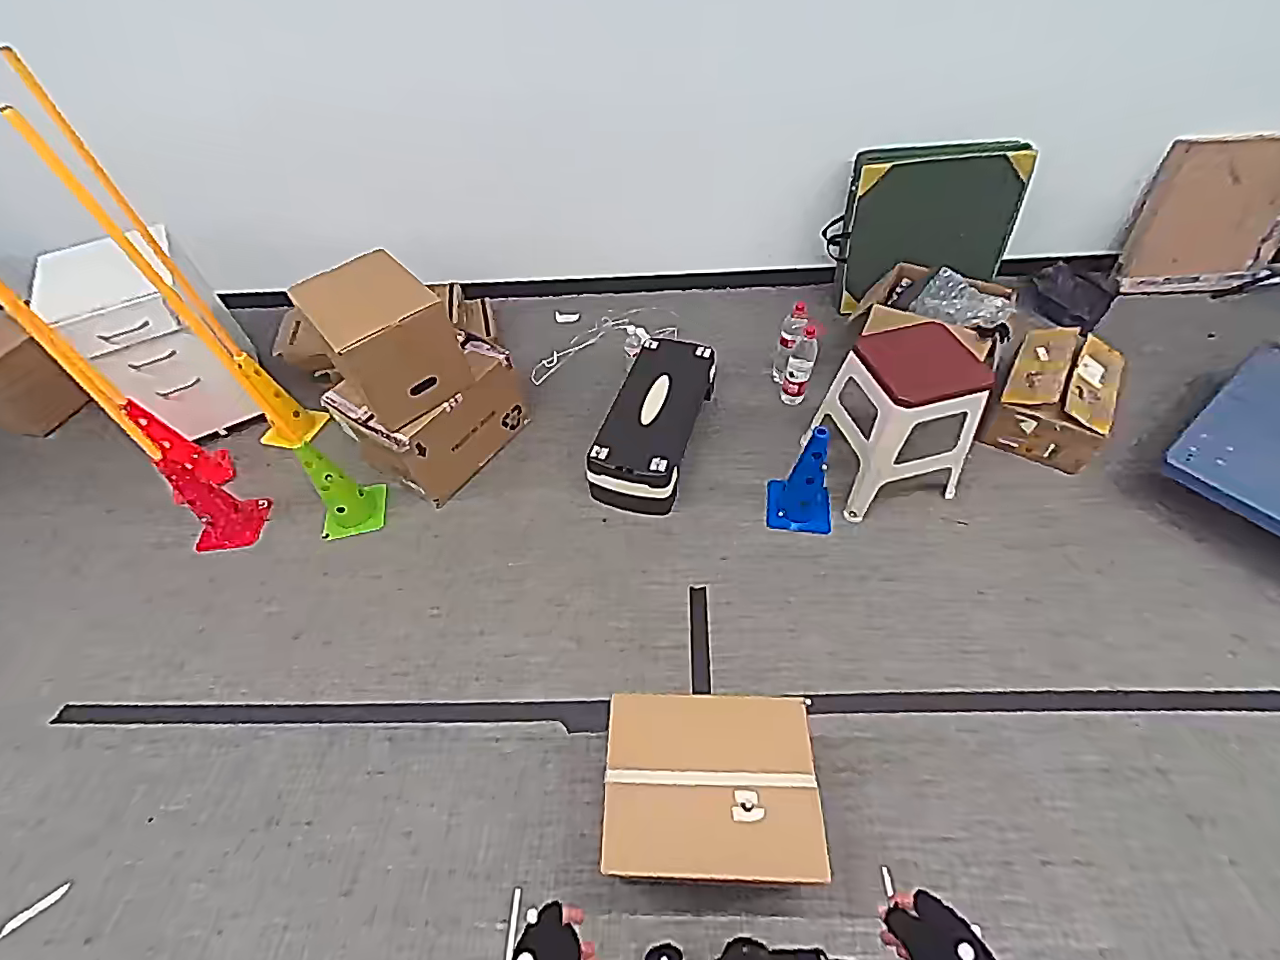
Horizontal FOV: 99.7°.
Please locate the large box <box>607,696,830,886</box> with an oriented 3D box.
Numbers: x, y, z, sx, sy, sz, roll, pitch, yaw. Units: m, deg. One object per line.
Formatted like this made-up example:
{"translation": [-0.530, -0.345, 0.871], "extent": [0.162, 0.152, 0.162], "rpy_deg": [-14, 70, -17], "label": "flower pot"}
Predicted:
{"translation": [0.143, 0.672, 1.159], "extent": [0.408, 0.320, 0.320], "rpy_deg": [0, 52, 2], "label": "large box"}
